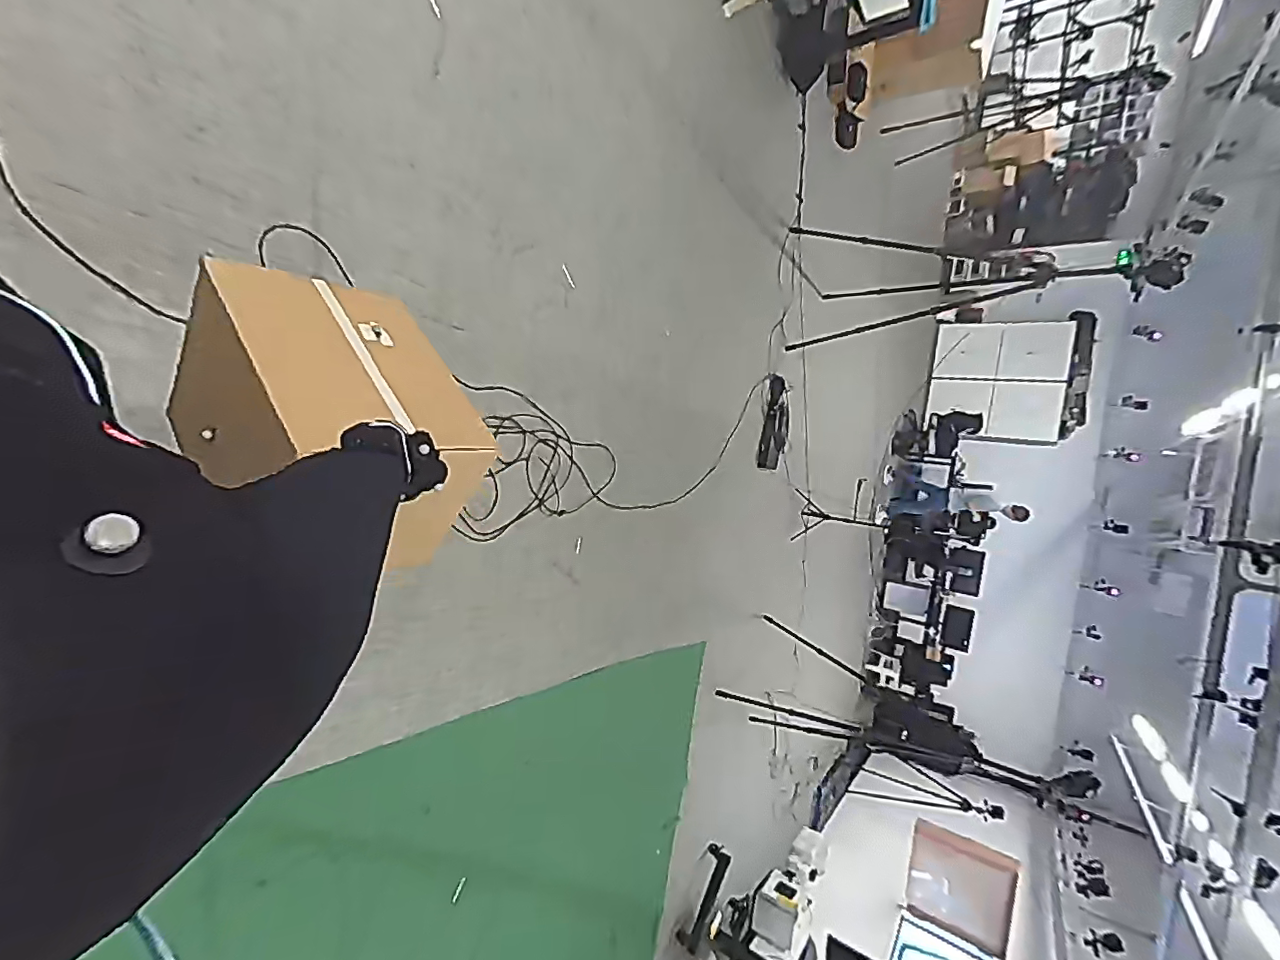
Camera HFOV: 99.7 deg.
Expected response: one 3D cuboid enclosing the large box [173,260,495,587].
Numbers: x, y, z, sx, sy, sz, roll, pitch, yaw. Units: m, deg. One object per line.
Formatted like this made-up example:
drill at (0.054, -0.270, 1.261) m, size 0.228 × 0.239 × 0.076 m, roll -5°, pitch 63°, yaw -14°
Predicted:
large box at (-0.528, -0.091, 0.922) m, size 0.320 × 0.408 × 0.320 m, roll -50°, pitch 157°, yaw 27°
